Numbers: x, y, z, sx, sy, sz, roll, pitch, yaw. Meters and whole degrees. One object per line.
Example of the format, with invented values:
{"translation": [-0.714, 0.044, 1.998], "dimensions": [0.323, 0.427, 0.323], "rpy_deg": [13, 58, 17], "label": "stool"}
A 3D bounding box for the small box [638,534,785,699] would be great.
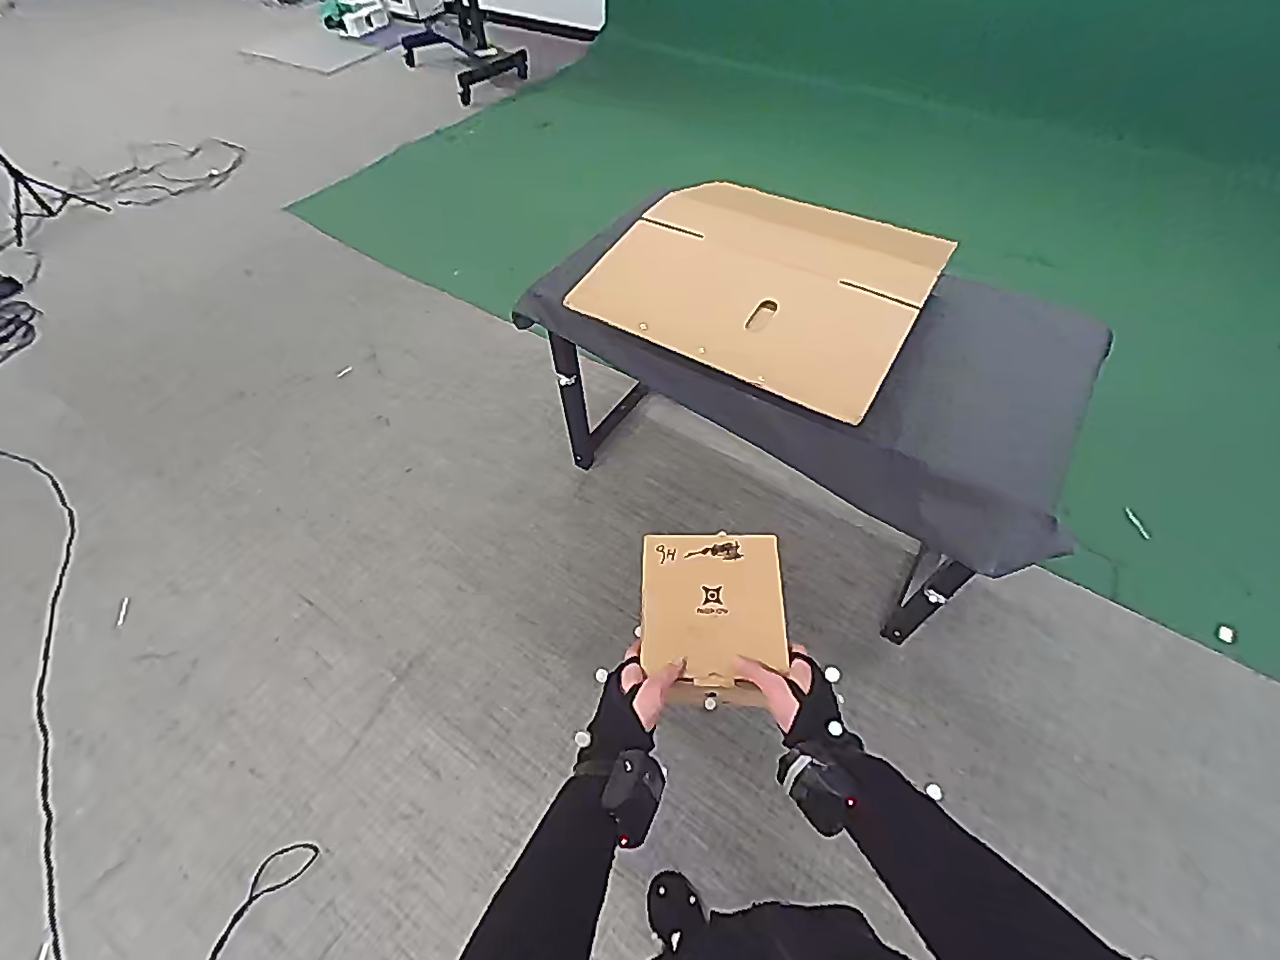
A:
{"translation": [0.086, 0.185, 0.706], "dimensions": [0.168, 0.176, 0.179], "rpy_deg": [-3, 59, 4], "label": "small box"}
